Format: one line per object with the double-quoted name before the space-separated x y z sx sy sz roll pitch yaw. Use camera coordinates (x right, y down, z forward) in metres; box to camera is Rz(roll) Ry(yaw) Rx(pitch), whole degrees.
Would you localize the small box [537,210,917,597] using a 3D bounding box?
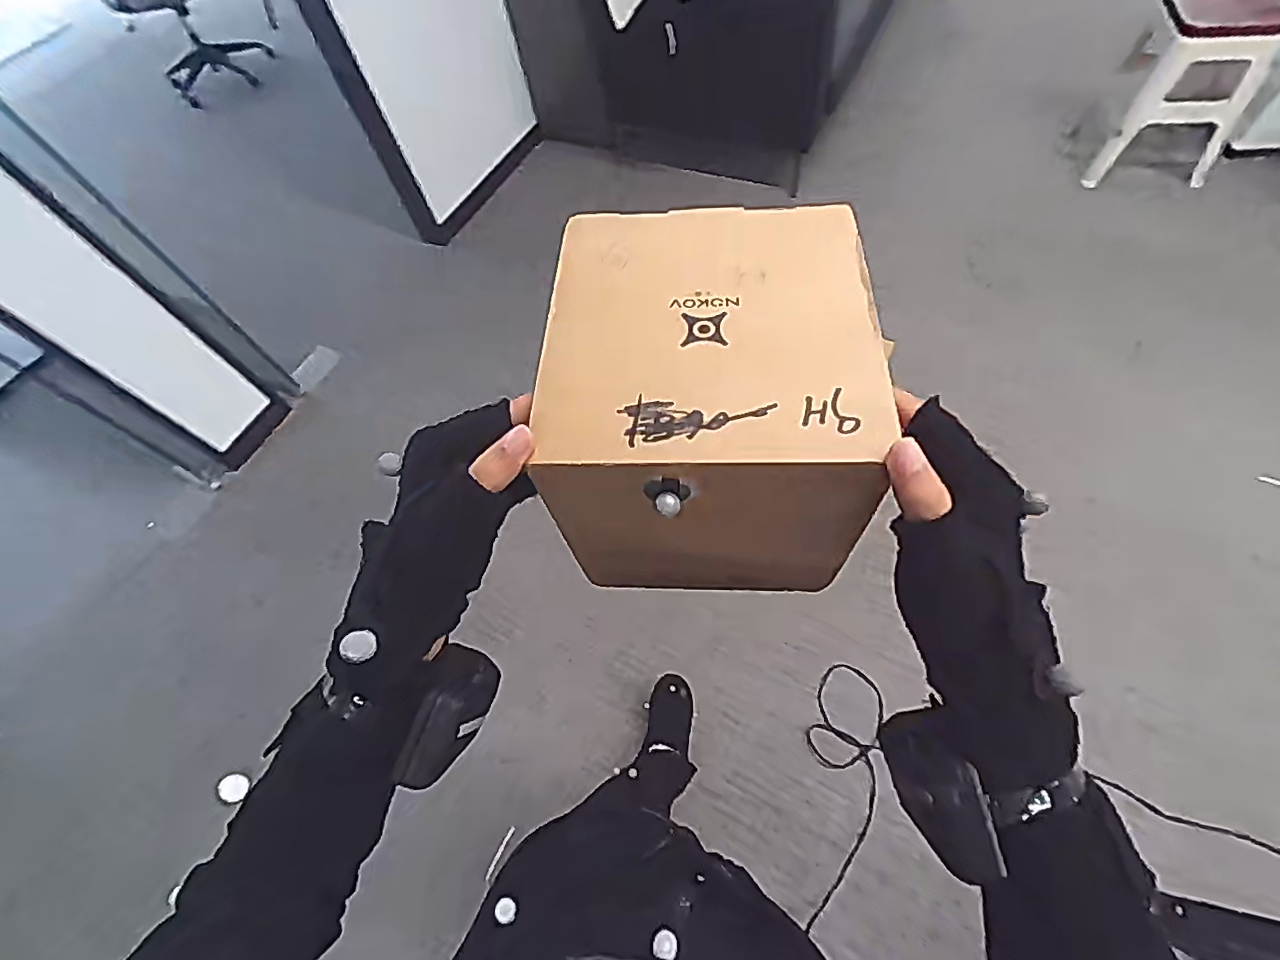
"small box" 0.048 -0.040 0.342 0.168 0.176 0.179 0 60 7
